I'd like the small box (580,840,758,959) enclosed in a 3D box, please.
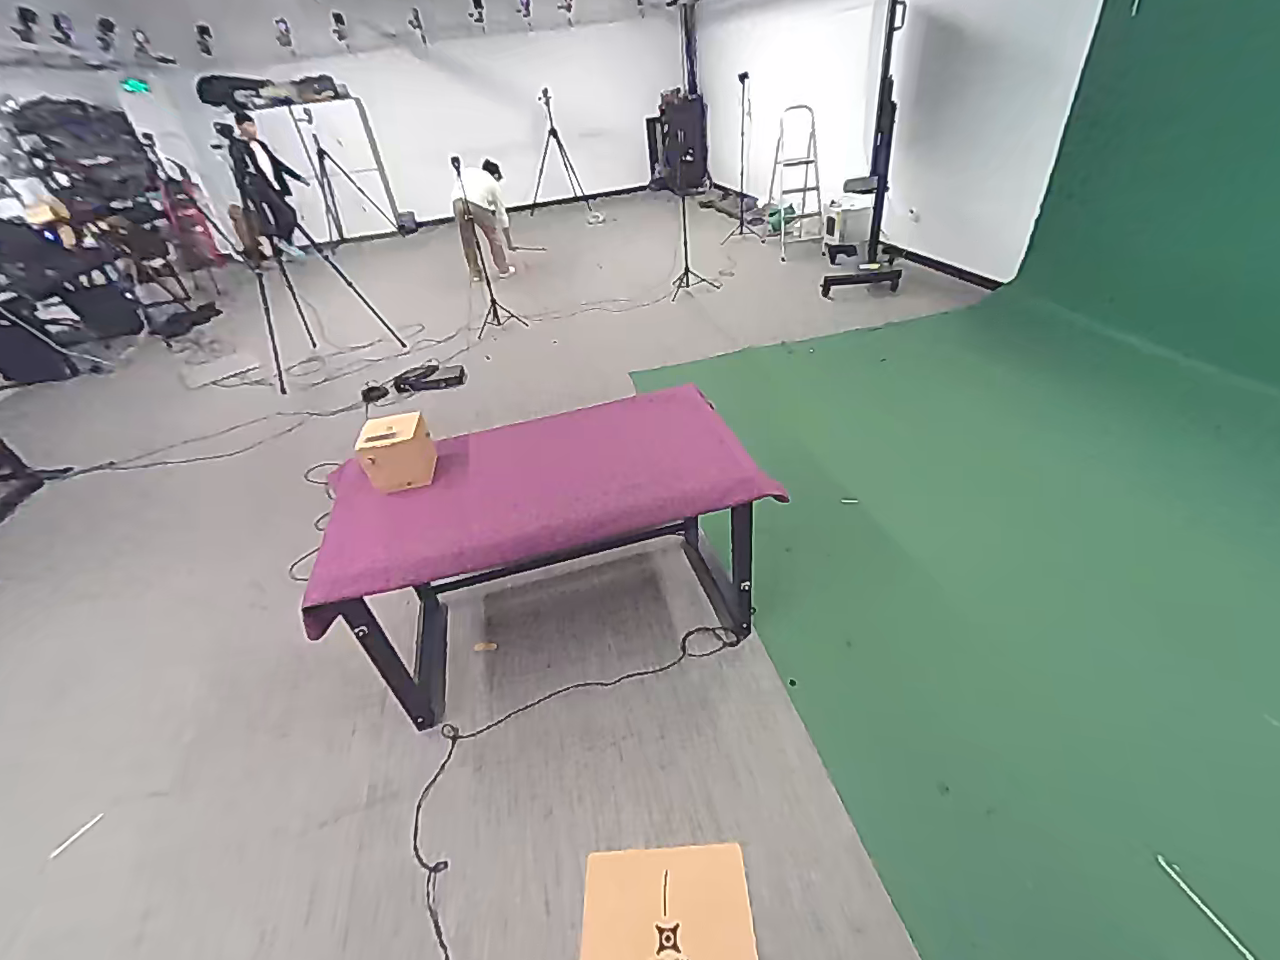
[{"bbox_3d":[0.036,0.498,0.538,0.168,0.176,0.179,-6,30,3],"label":"small box"}]
